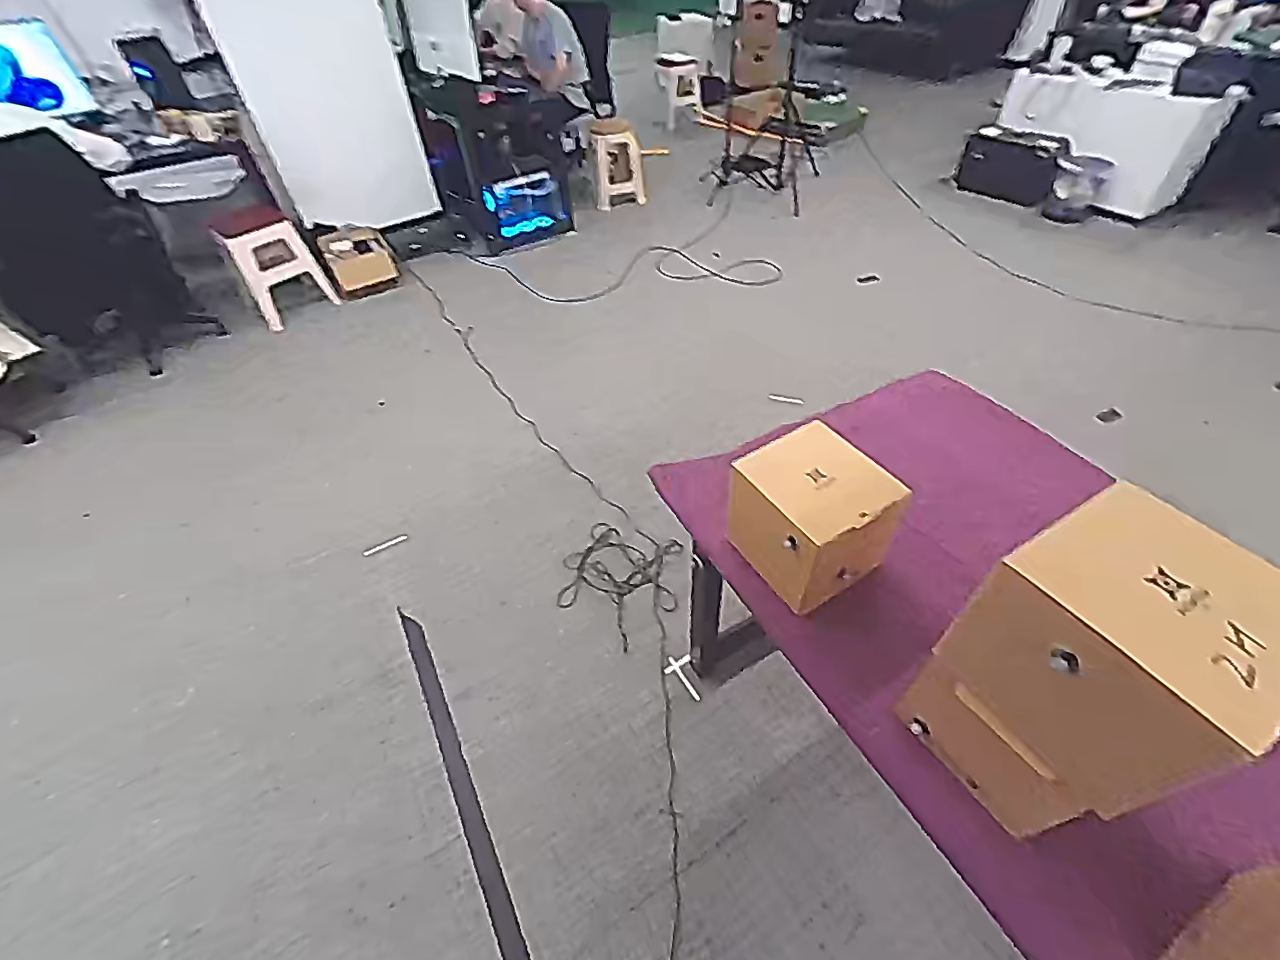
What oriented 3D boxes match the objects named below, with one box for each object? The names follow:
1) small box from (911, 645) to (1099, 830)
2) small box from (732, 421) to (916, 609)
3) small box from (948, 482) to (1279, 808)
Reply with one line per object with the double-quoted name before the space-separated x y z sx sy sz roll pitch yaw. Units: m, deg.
"small box" 0.429 0.243 0.591 0.179 0.176 0.168 -26 51 -20
"small box" 0.249 0.050 0.783 0.168 0.176 0.179 -26 51 -19
"small box" 0.410 0.139 0.463 0.168 0.176 0.179 -25 51 -17
